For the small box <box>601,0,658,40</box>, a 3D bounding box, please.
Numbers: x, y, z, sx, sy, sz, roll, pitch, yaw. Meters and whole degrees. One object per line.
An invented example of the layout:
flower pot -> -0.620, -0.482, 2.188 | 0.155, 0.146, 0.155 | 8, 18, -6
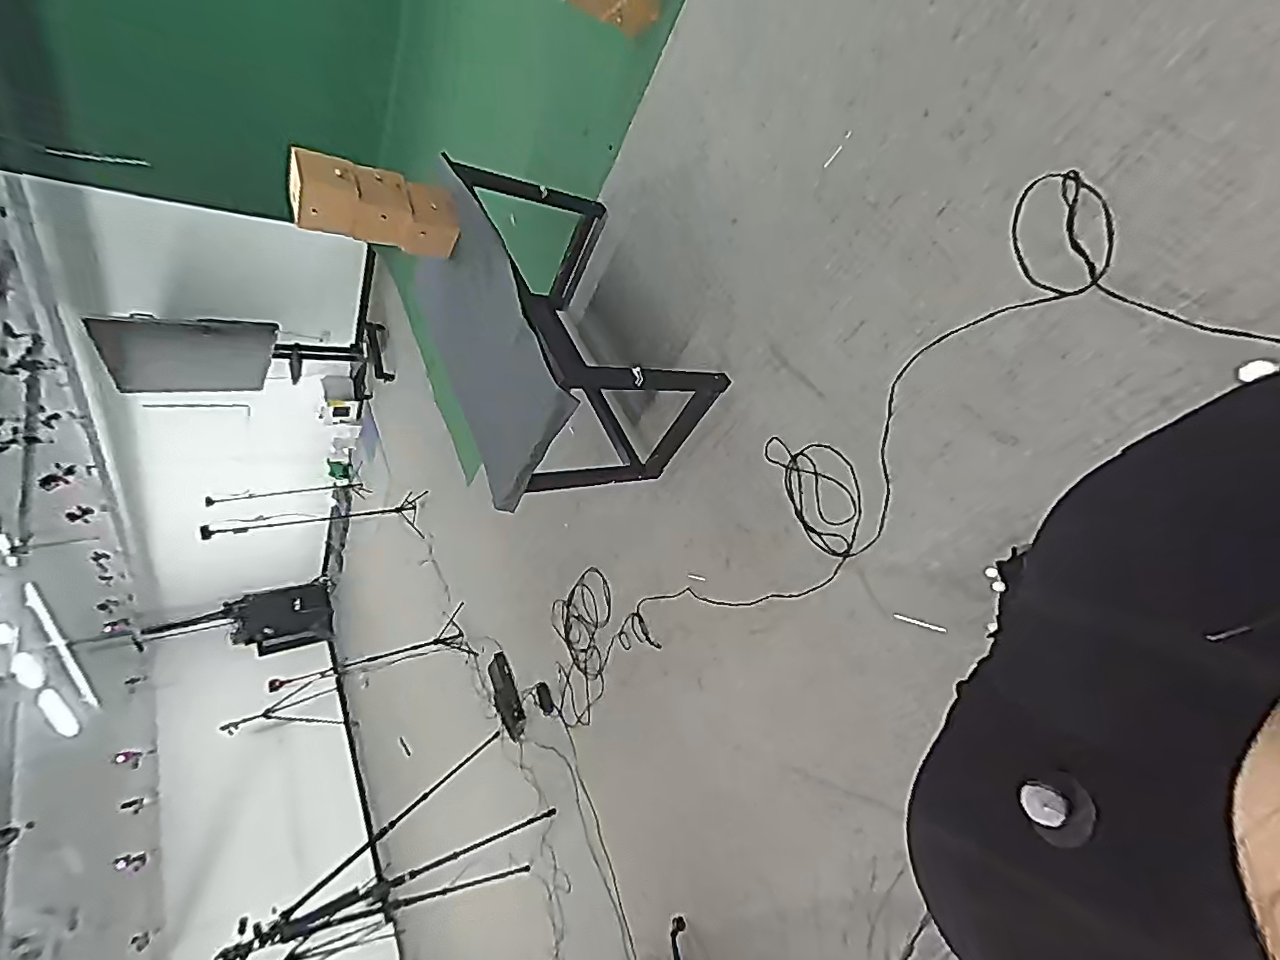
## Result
small box -> -0.037, -1.878, 2.112 | 0.179, 0.176, 0.168 | 13, 105, 50

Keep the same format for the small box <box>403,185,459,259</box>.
small box -> -0.775, -0.939, 1.983 | 0.179, 0.176, 0.168 | -28, 73, 51

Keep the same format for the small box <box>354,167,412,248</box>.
small box -> -0.906, -0.944, 1.884 | 0.179, 0.176, 0.168 | -36, 66, 50

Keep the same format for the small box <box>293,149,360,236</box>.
small box -> -1.035, -0.938, 1.783 | 0.179, 0.176, 0.168 | -43, 62, 46
